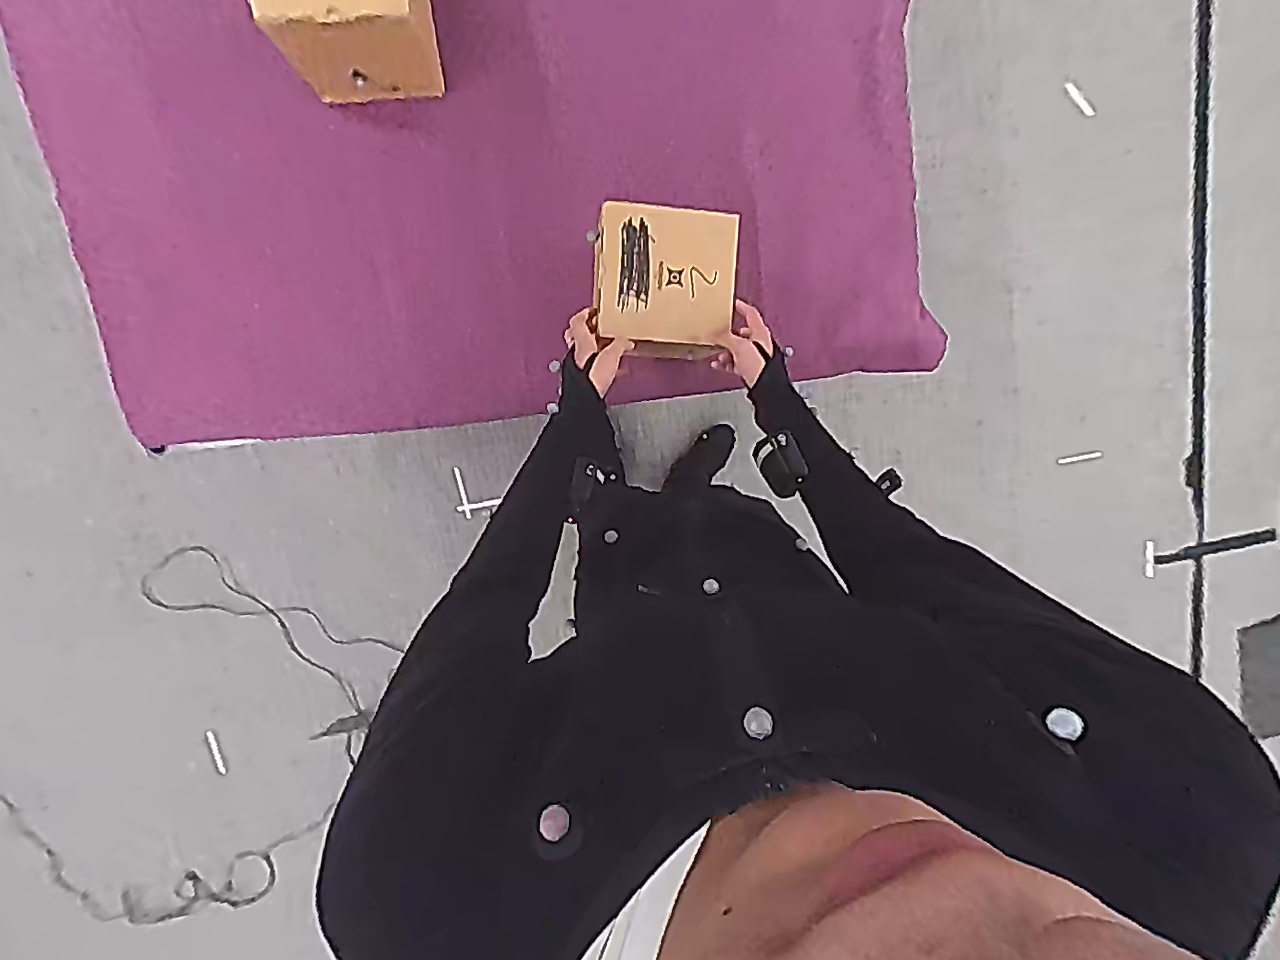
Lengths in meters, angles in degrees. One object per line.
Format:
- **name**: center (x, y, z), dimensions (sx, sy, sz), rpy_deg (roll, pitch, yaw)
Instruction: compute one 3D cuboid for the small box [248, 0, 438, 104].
- **small box**: center (-0.360, -0.599, 0.658), dimensions (0.168, 0.176, 0.179), rpy_deg (-8, 101, -6)
